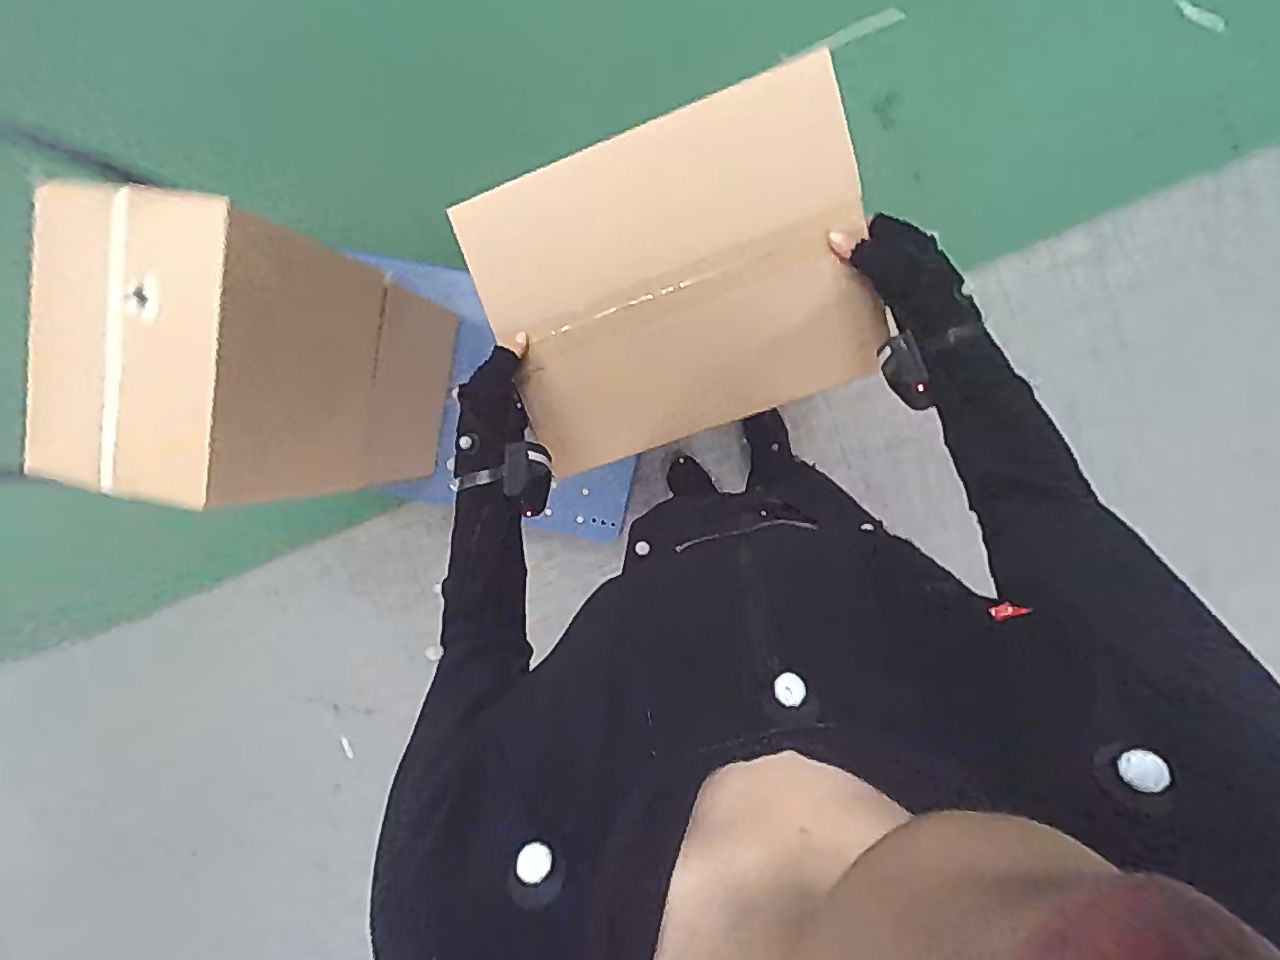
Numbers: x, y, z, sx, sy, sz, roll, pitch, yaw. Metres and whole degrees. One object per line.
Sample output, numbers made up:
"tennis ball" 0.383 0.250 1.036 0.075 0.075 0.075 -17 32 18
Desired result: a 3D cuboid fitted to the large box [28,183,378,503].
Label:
"large box" -0.670 -0.194 0.872 0.320 0.320 0.408 10 95 10
